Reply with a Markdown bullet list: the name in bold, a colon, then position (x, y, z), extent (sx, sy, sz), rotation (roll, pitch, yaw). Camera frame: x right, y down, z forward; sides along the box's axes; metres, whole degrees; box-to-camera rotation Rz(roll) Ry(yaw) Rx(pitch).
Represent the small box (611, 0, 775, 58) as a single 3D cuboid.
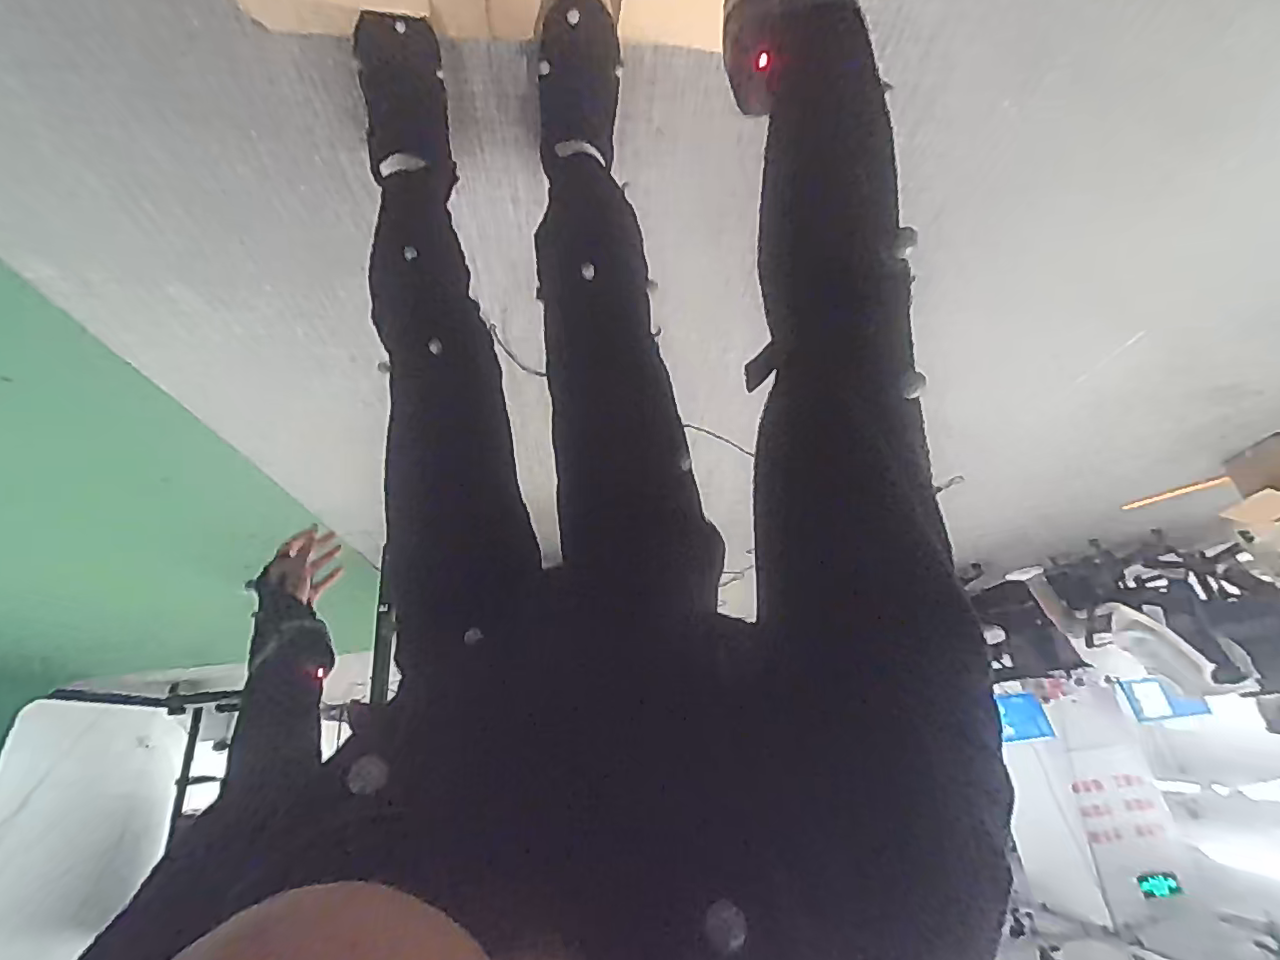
- **small box**: position (0.061, -0.588, 0.553), extent (0.168, 0.176, 0.179), rotation (-1, 154, -14)
